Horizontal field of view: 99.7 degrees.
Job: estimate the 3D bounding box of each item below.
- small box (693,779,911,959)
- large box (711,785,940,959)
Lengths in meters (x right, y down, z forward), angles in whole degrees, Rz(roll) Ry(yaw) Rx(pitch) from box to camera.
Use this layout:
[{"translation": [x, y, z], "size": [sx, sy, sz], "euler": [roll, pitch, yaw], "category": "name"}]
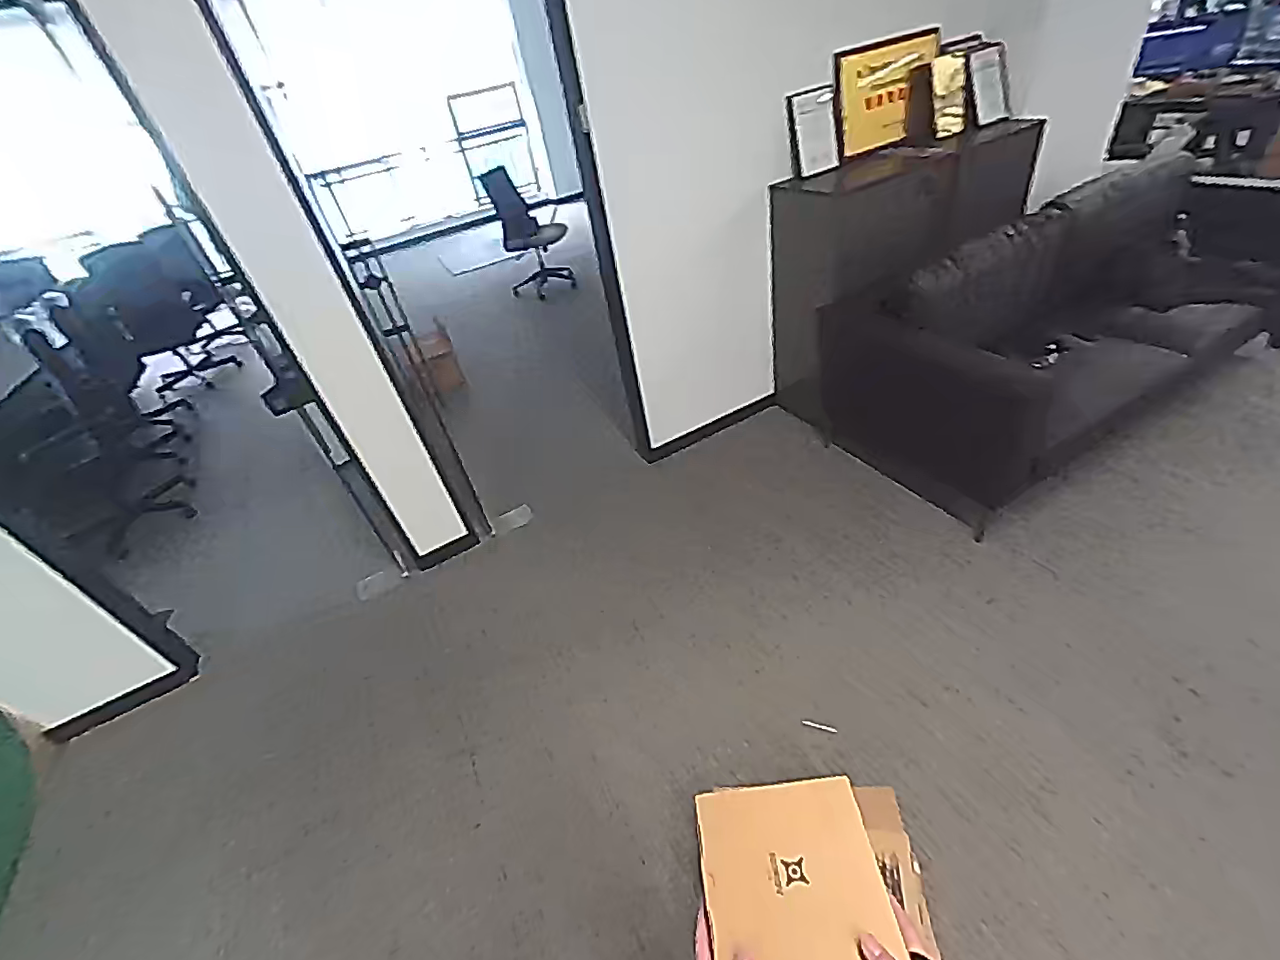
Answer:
[{"translation": [0.160, 0.452, 0.583], "size": [0.179, 0.176, 0.168], "euler": [-10, 38, 3], "category": "small box"}, {"translation": [0.380, 0.910, 1.203], "size": [0.408, 0.320, 0.320], "euler": [-6, 38, 9], "category": "large box"}]
